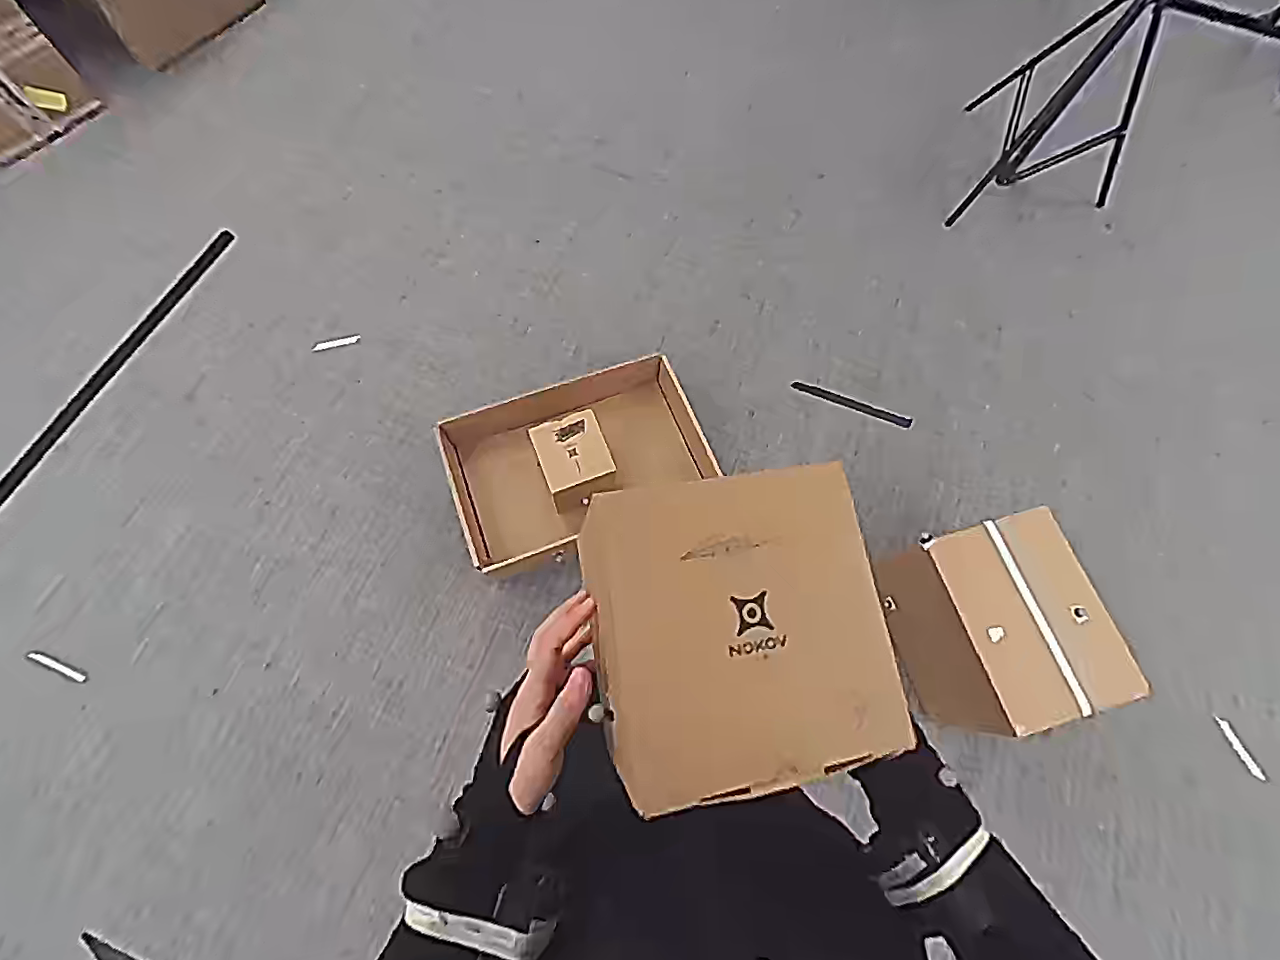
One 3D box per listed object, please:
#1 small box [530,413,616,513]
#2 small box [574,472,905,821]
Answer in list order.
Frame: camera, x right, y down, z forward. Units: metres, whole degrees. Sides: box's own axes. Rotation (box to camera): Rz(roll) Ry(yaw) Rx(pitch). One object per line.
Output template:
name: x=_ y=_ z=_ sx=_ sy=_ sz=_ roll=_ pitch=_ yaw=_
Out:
small box: x=-0.168 y=-0.039 z=1.366 sx=0.168 sy=0.176 sz=0.179 roll=-20 pitch=73 yaw=-10
small box: x=0.048 y=0.107 z=0.393 sx=0.168 sy=0.176 sz=0.179 roll=-8 pitch=76 yaw=-14
